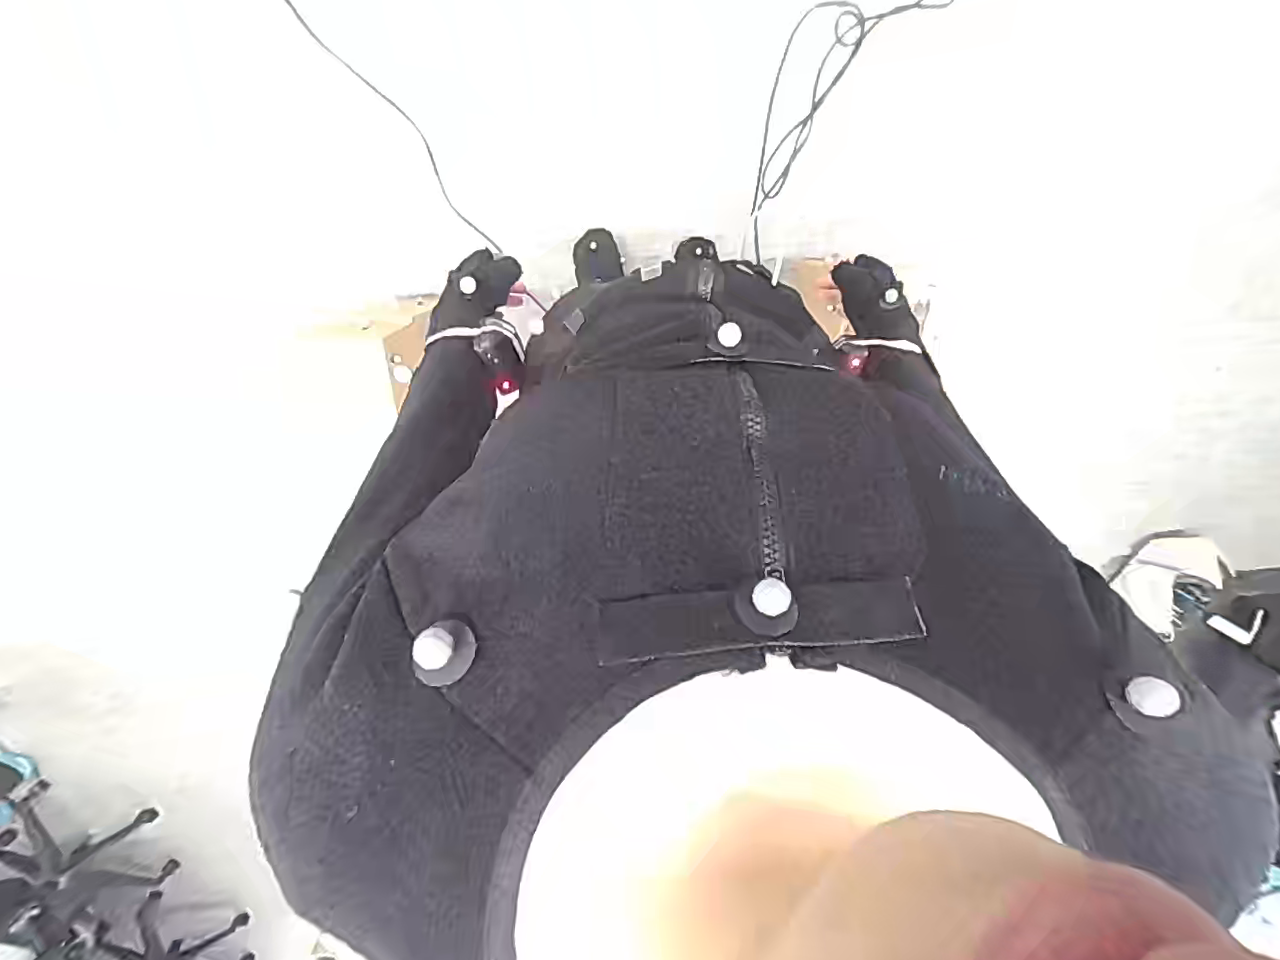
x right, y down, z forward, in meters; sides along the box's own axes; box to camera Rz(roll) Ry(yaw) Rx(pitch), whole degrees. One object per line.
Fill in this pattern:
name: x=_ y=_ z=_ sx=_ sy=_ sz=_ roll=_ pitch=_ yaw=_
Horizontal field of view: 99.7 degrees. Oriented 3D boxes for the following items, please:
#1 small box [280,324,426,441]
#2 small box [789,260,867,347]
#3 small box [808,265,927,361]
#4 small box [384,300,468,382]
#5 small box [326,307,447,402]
small box: x=-0.510 y=-0.183 z=0.993 sx=0.168 sy=0.176 sz=0.179 roll=-1 pitch=115 yaw=-2
small box: x=0.465 y=-0.418 z=1.285 sx=0.168 sy=0.176 sz=0.179 roll=1 pitch=116 yaw=-4
small box: x=0.471 y=-0.358 z=1.150 sx=0.168 sy=0.176 sz=0.179 roll=-1 pitch=116 yaw=-4
small box: x=-0.518 y=-0.332 z=1.284 sx=0.179 sy=0.176 sz=0.168 roll=-2 pitch=115 yaw=-2
small box: x=-0.518 y=-0.261 z=1.135 sx=0.168 sy=0.176 sz=0.179 roll=-1 pitch=115 yaw=-2
